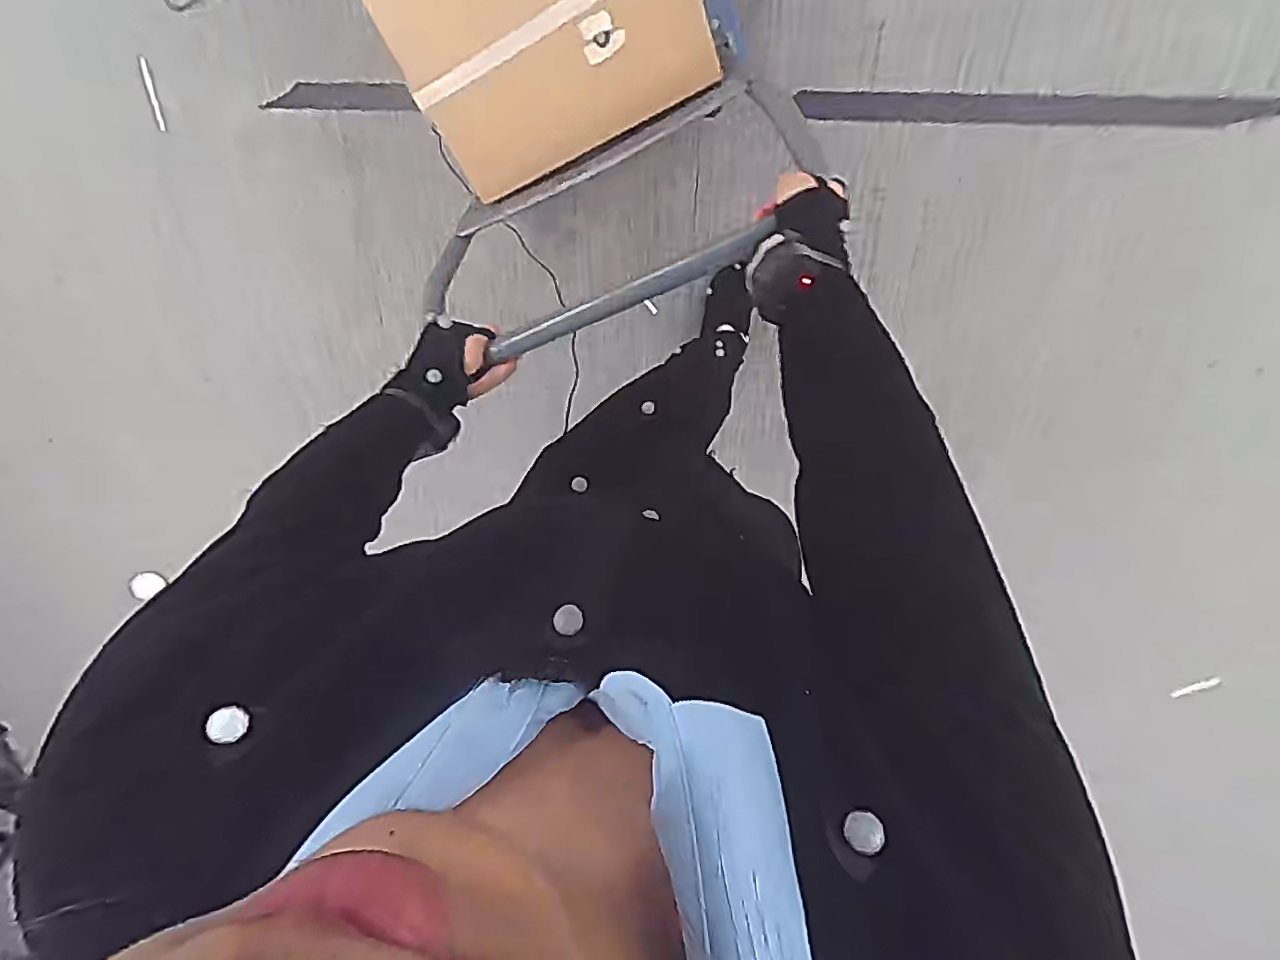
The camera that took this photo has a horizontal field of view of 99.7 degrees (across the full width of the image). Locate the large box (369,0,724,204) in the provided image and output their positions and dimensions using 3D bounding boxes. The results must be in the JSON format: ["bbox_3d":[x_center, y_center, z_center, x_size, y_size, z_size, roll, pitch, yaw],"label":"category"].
[{"bbox_3d":[-0.127,-0.707,0.840,0.408,0.320,0.320,-21,129,15],"label":"large box"}]
